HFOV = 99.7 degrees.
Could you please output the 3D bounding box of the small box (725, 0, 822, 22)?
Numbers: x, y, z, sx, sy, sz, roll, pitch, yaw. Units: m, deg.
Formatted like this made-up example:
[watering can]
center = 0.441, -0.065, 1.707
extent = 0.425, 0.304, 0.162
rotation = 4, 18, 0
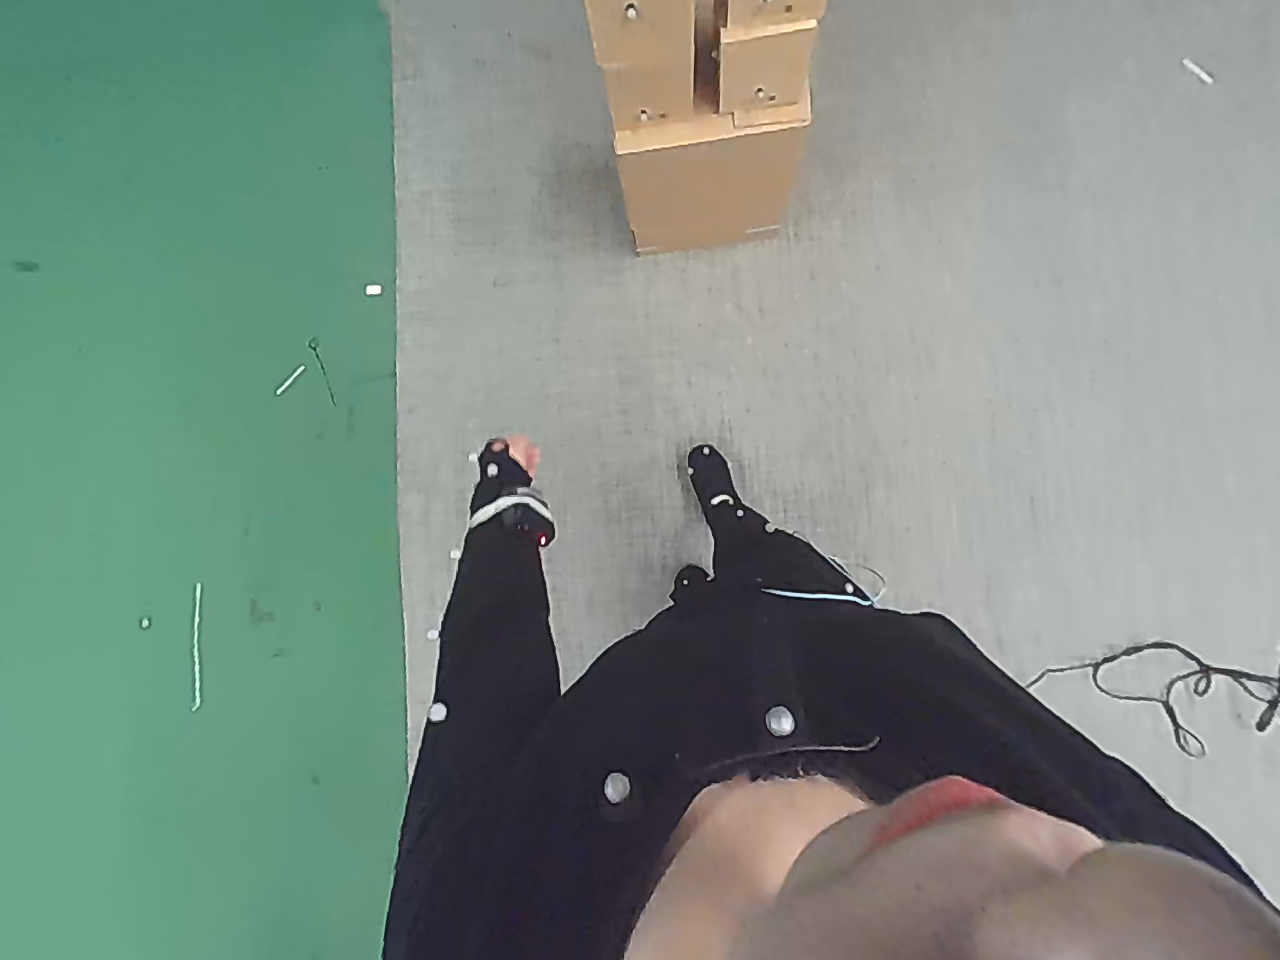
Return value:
[small box]
center = 0.221, -0.893, 0.864
extent = 0.168, 0.176, 0.179
rotation = -1, 86, 7
